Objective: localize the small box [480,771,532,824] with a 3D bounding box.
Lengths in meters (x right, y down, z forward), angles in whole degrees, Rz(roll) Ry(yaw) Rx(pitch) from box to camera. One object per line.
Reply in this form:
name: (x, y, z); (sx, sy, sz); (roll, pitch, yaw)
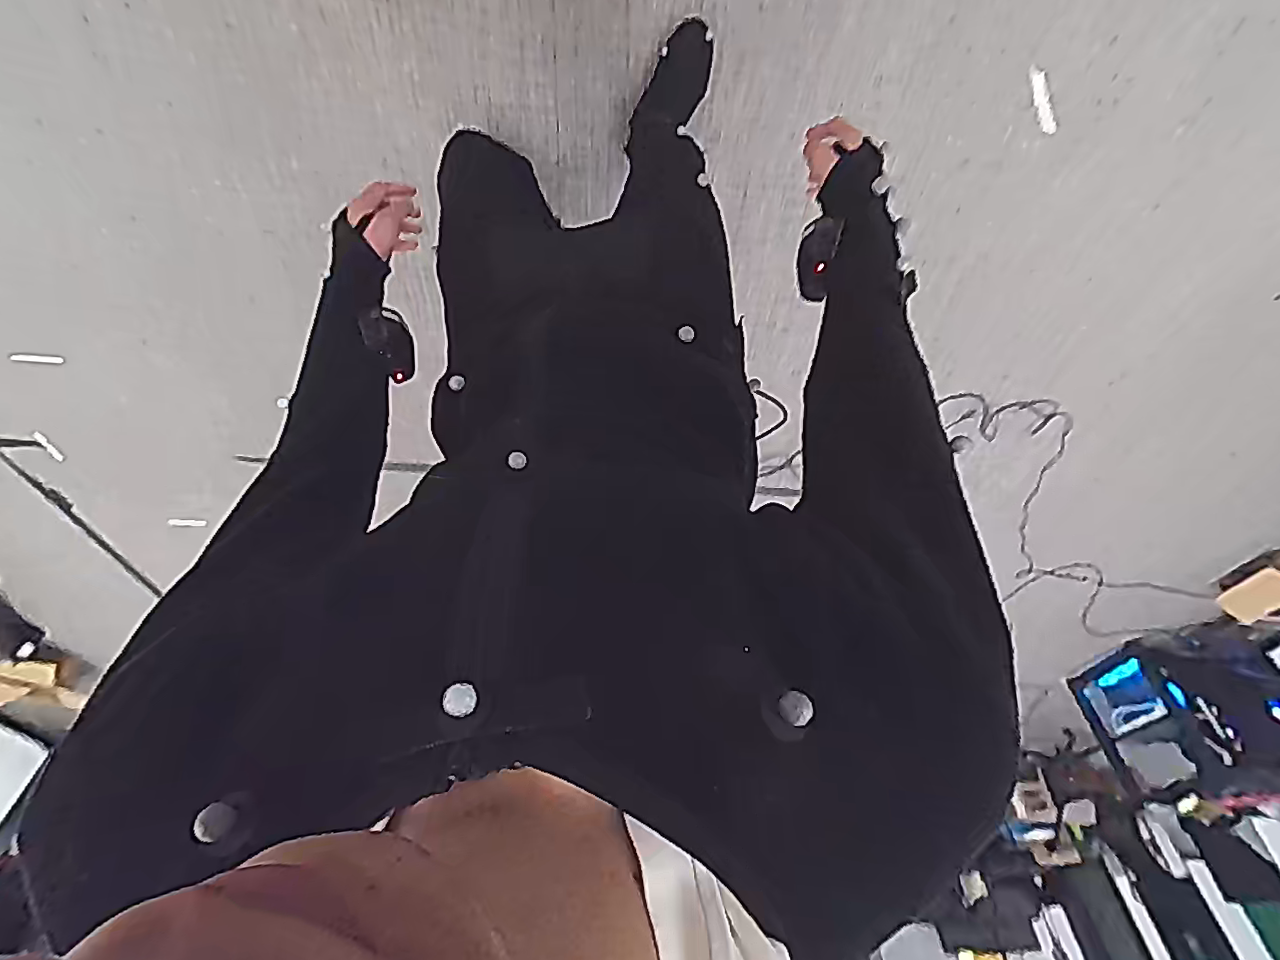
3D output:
small box: (-0.576, 1.370, 2.339); (0.179, 0.176, 0.168); (2, 137, -1)
